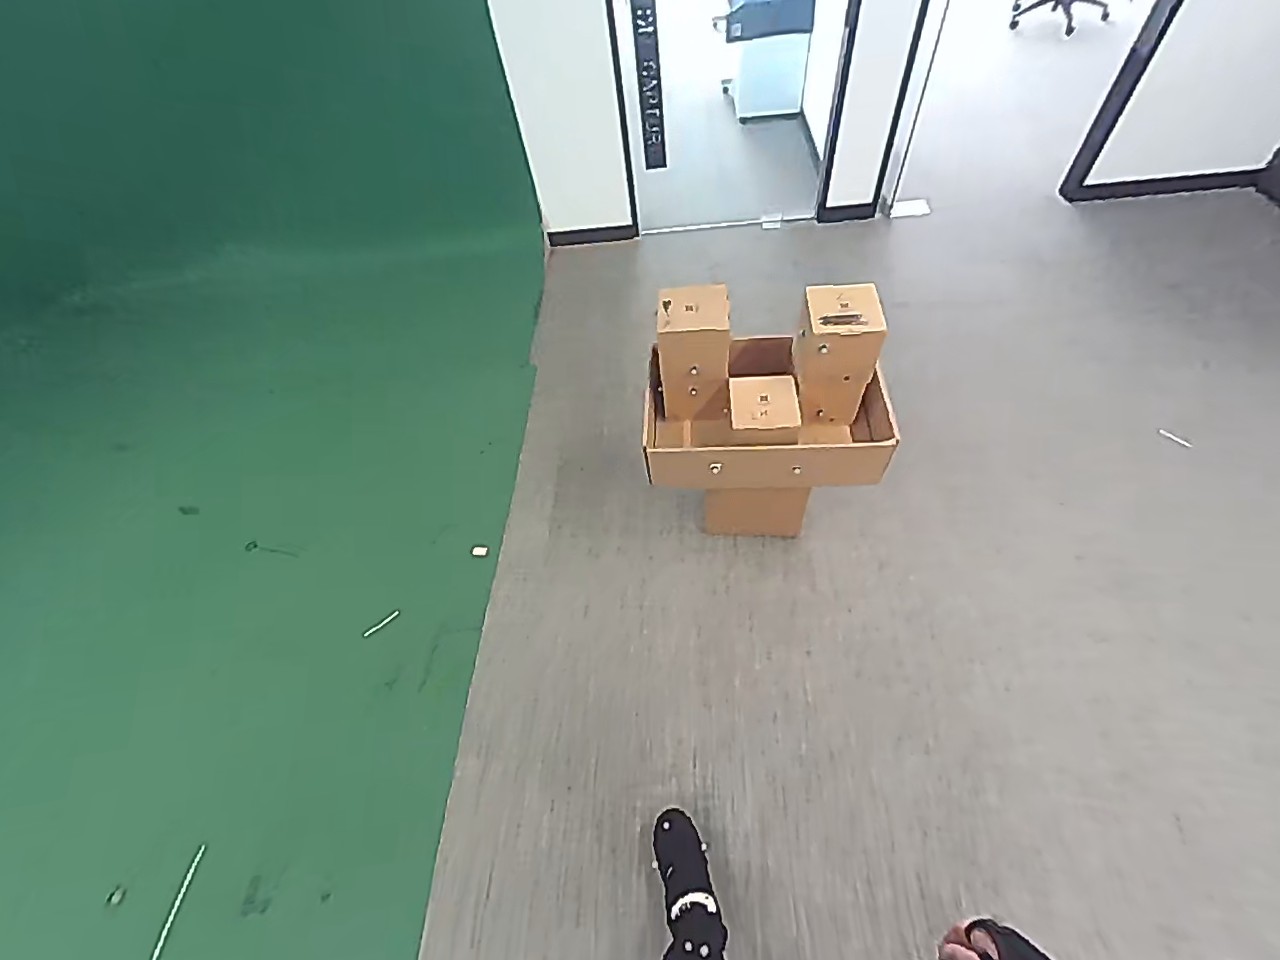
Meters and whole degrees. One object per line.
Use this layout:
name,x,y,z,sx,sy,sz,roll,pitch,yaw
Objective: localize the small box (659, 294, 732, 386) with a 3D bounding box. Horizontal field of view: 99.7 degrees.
small box,0.142,-0.357,1.394,0.179,0.176,0.168,0,55,6
